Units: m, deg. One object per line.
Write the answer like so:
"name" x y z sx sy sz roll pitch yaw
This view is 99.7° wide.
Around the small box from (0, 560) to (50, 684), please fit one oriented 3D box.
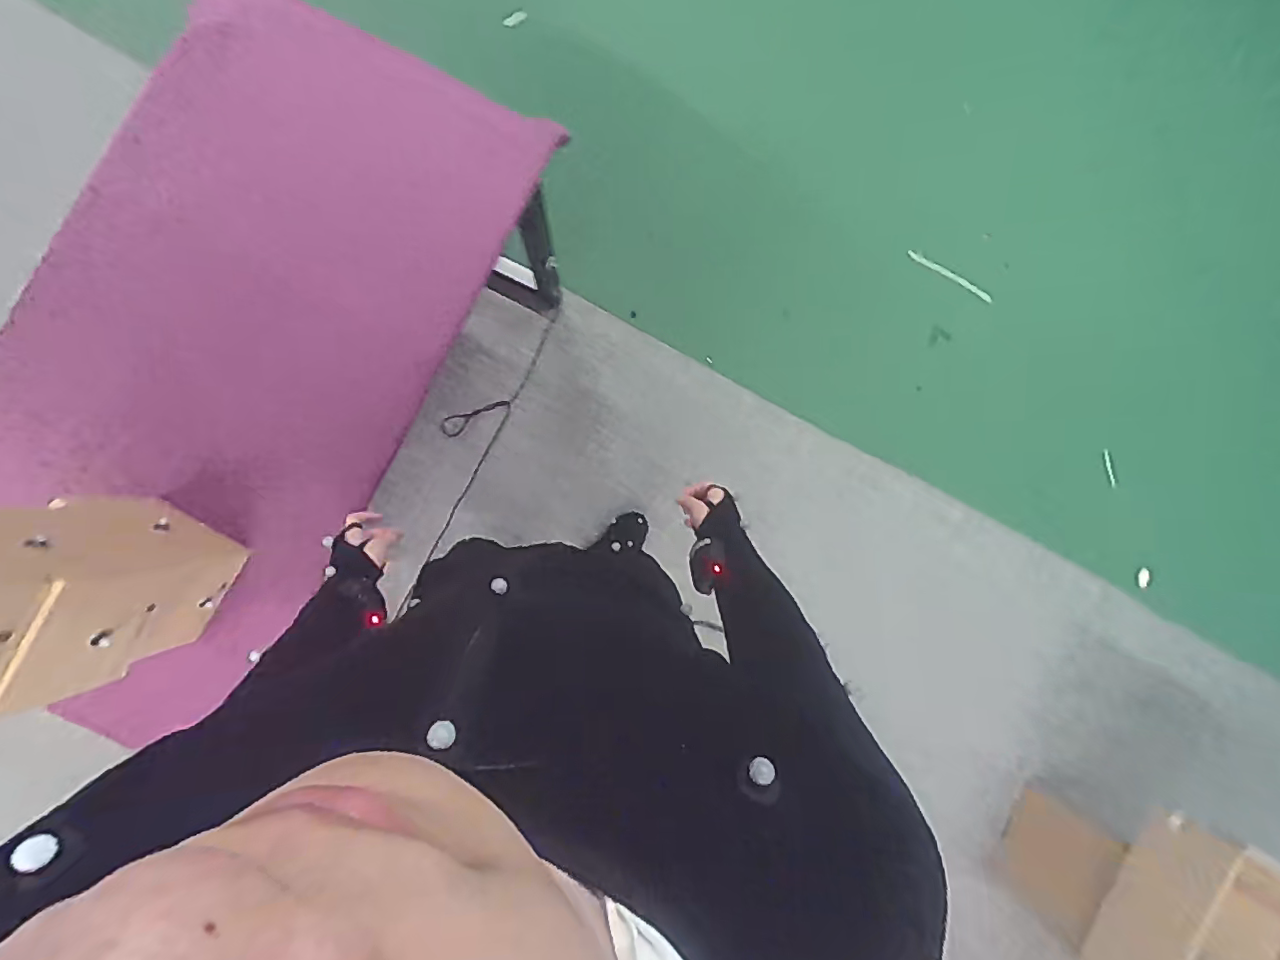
"small box" -0.700 0.137 0.460 0.179 0.176 0.168 25 86 -3
